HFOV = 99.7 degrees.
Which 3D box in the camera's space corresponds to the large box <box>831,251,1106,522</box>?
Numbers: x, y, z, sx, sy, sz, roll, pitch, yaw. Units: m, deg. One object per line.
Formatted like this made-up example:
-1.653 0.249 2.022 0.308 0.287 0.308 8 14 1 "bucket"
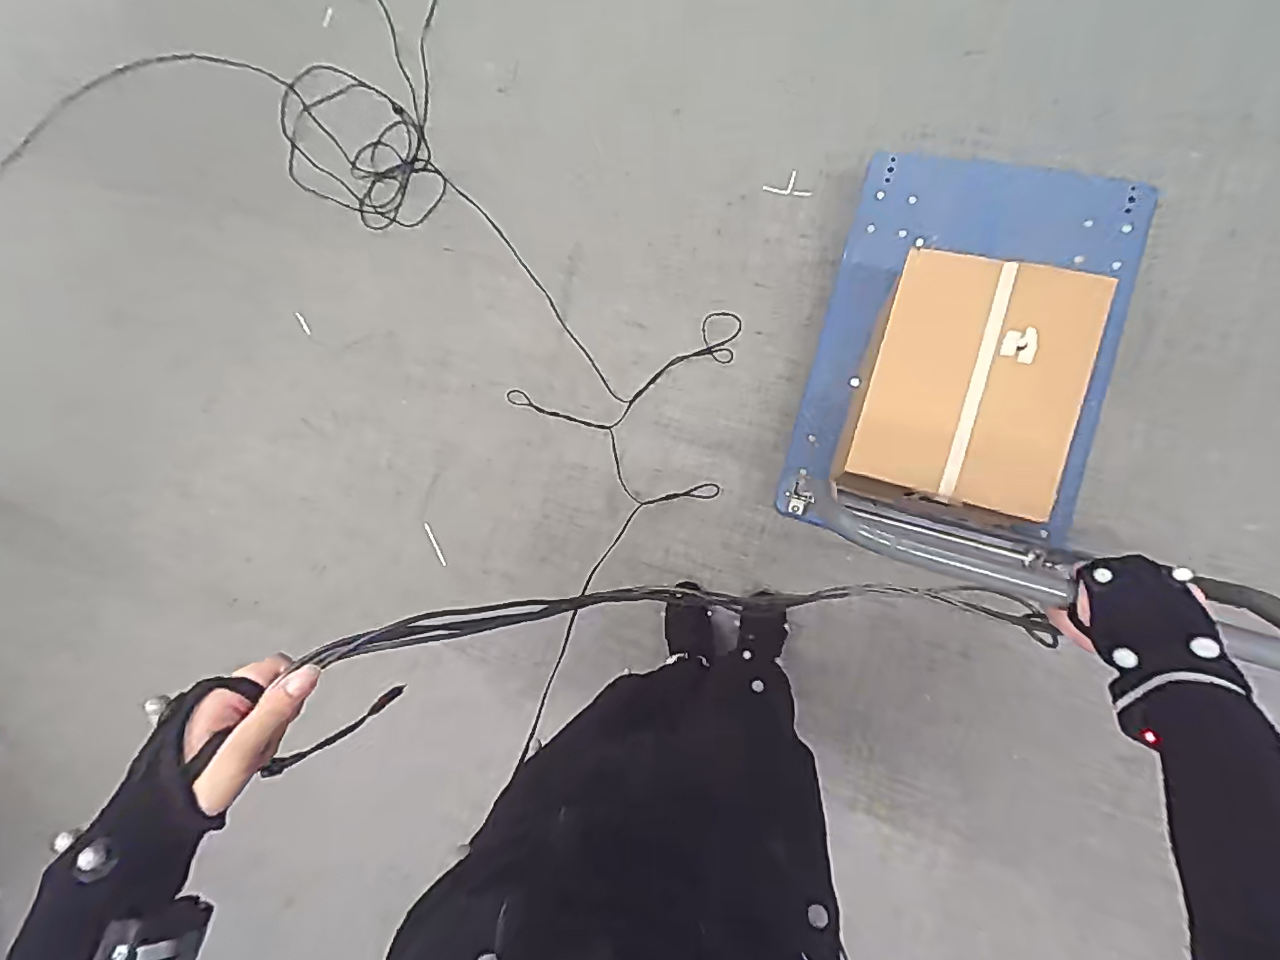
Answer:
0.582 -0.152 1.034 0.320 0.320 0.408 17 88 14 "large box"
